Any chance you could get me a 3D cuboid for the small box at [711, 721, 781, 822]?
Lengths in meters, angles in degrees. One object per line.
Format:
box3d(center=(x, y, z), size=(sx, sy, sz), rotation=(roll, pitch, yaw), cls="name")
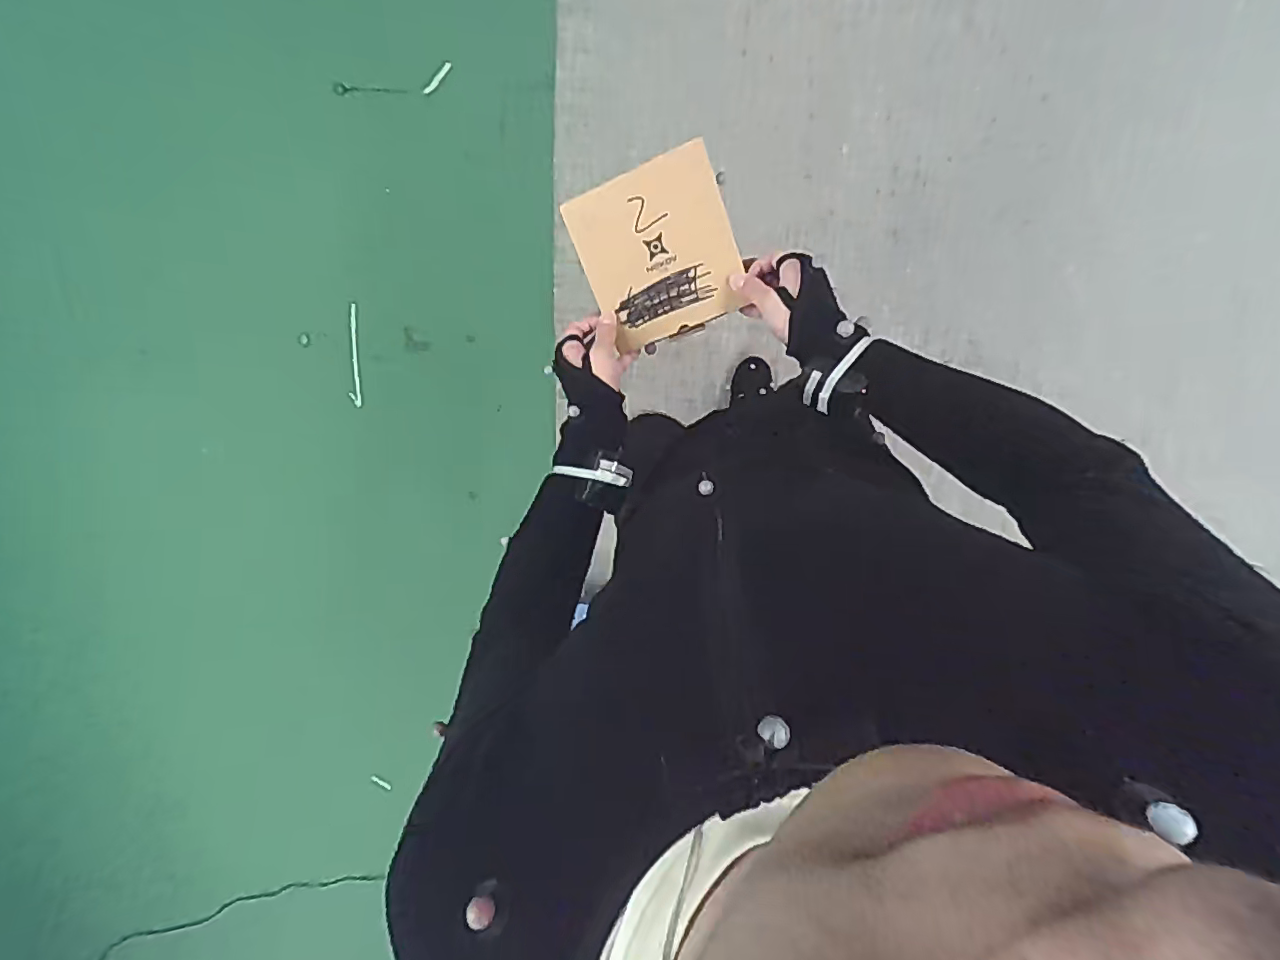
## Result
box3d(center=(0.291, 0.811, 1.519), size=(0.168, 0.176, 0.179), rotation=(6, 102, 7), cls="small box")
